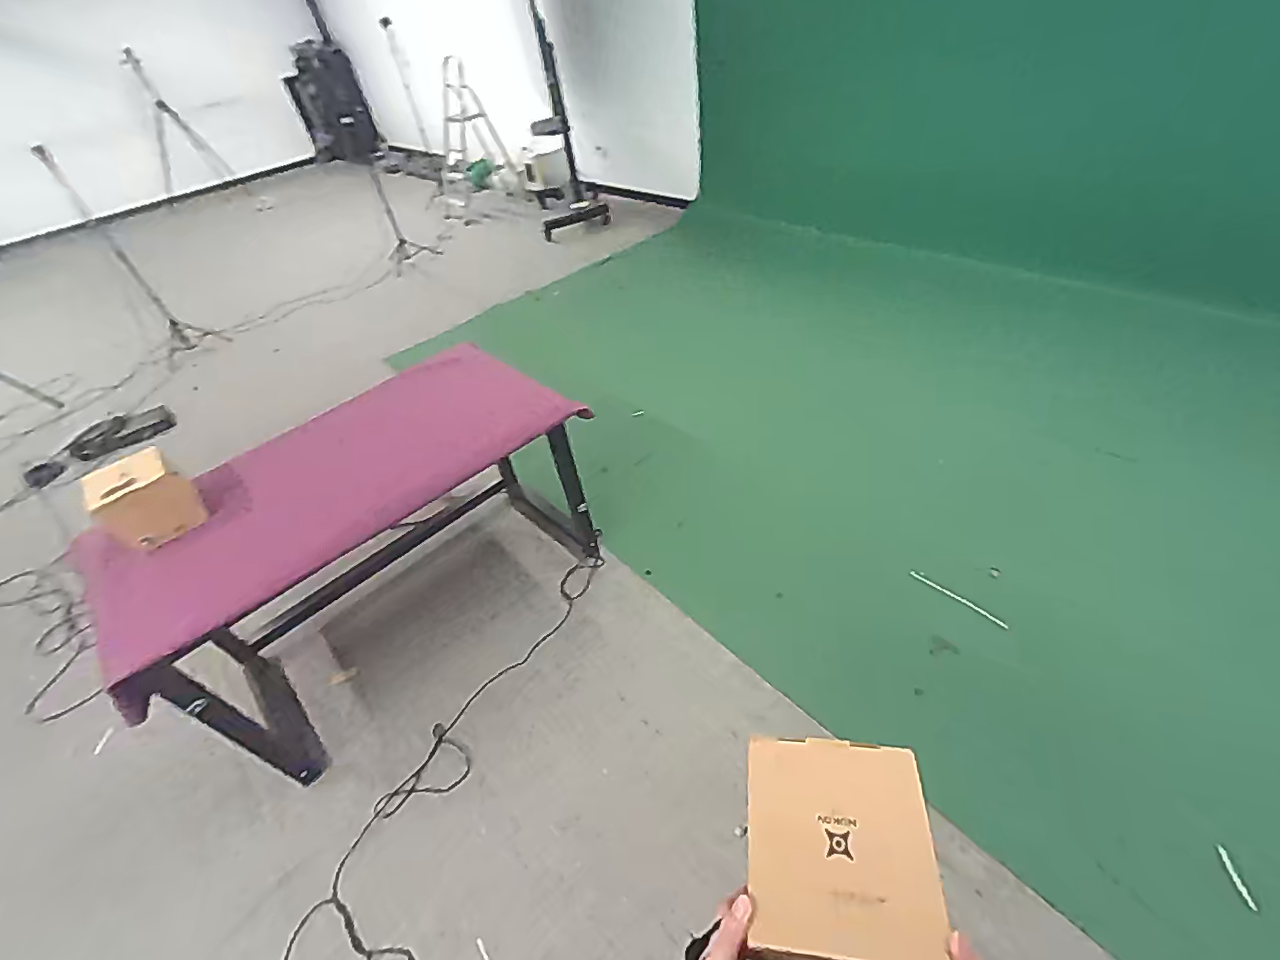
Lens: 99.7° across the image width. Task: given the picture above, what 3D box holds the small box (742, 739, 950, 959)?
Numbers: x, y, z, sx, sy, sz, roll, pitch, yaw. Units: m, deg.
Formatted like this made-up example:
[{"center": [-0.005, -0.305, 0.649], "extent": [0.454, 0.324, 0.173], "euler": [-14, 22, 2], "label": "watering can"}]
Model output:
[{"center": [0.191, 0.395, 0.558], "extent": [0.168, 0.176, 0.179], "euler": [0, 46, 11], "label": "small box"}]

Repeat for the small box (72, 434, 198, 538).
[{"center": [-1.264, 0.022, 1.362], "extent": [0.168, 0.176, 0.179], "euler": [-35, 51, -25], "label": "small box"}]
